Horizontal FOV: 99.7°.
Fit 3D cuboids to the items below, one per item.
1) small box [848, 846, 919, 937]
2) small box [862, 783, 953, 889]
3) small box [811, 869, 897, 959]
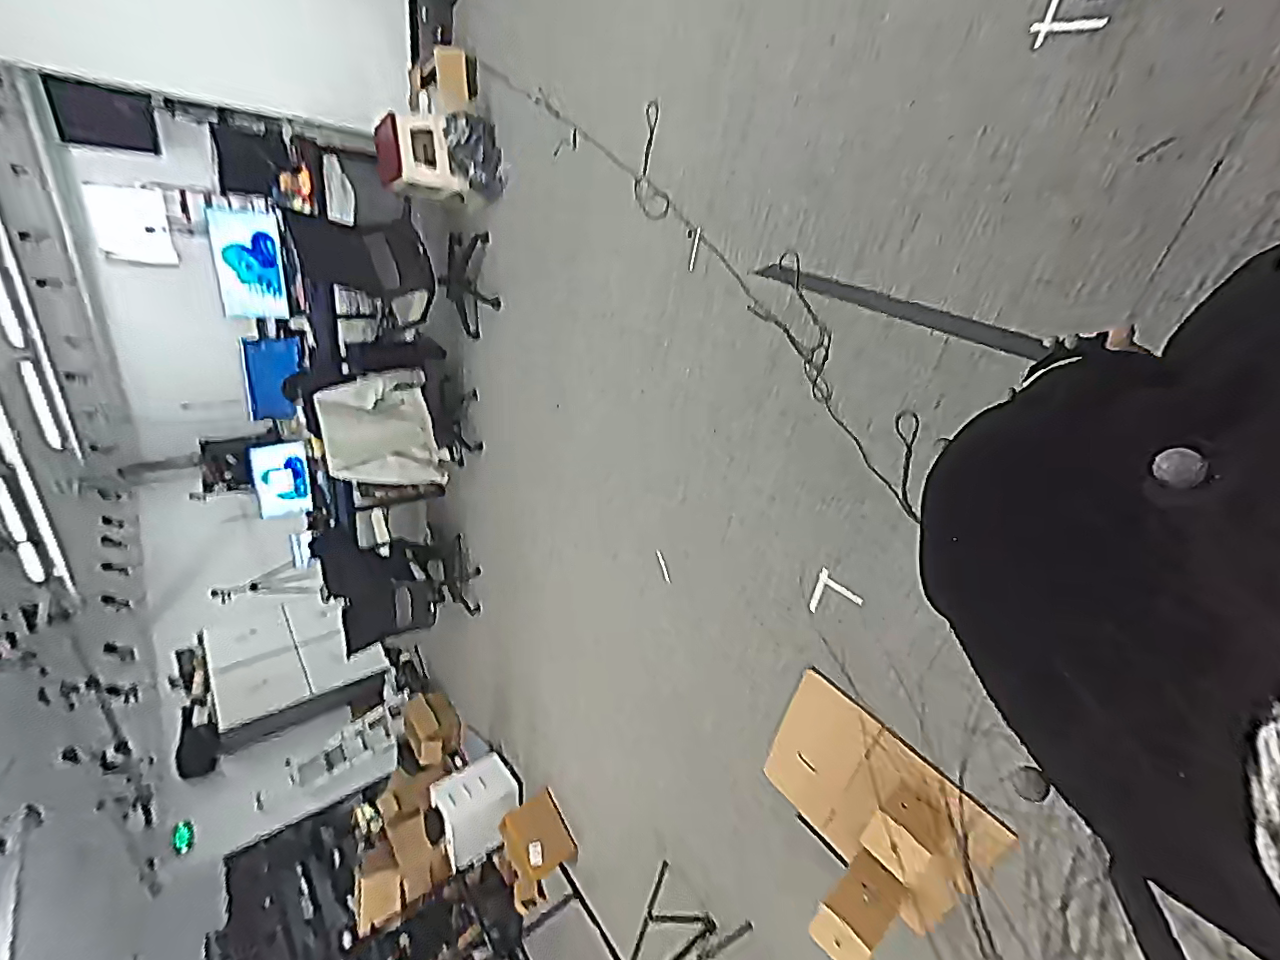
[{"bbox_3d":[0.775,1.316,1.750,0.168,0.176,0.179,29,122,43],"label":"small box"},{"bbox_3d":[0.810,1.063,1.630,0.168,0.176,0.179,34,126,41],"label":"small box"},{"bbox_3d":[0.653,1.352,1.646,0.168,0.176,0.179,30,123,41],"label":"small box"}]
